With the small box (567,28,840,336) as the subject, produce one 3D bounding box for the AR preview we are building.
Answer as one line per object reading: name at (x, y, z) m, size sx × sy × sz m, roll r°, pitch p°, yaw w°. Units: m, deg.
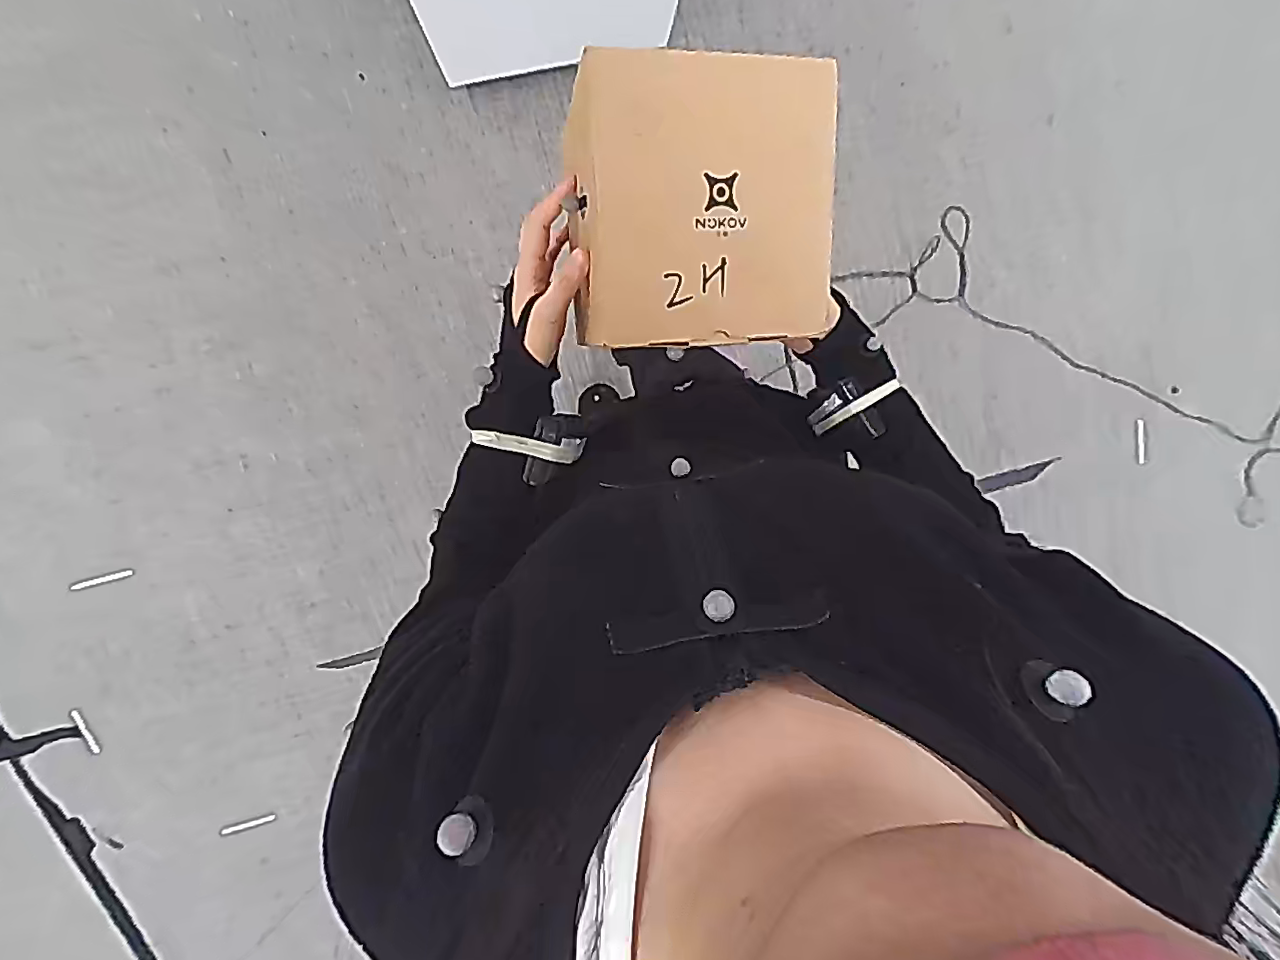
small box at (0.036, -0.208, 0.429) m, size 0.168 × 0.176 × 0.179 m, roll -6°, pitch 106°, yaw -11°
